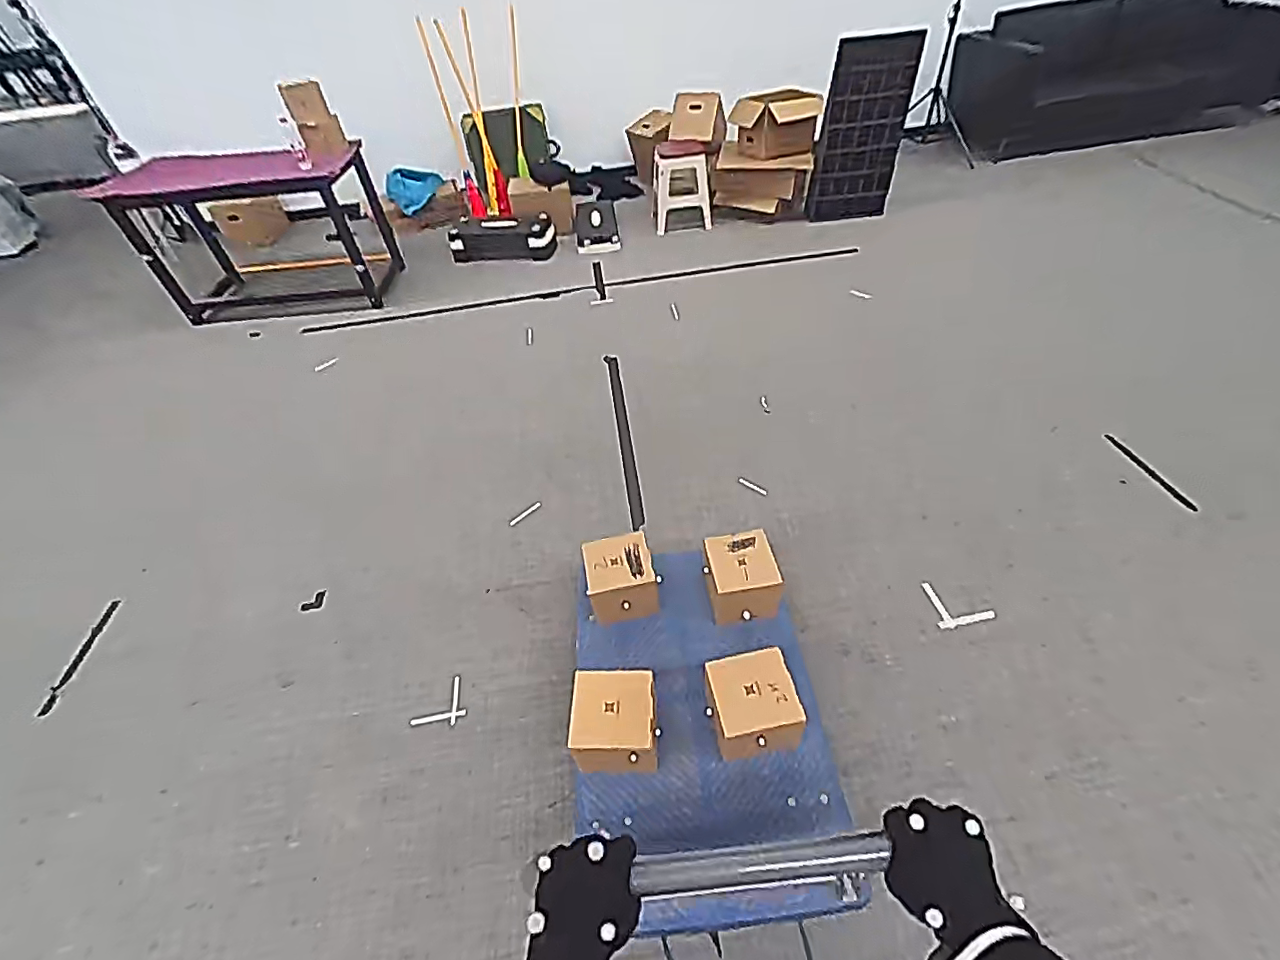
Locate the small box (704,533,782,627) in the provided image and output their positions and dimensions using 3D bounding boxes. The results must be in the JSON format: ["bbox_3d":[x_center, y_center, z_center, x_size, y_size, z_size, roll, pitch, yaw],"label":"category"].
[{"bbox_3d":[0.268,0.269,1.455,0.168,0.176,0.179,-9,47,-2],"label":"small box"}]

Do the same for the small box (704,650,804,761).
[{"bbox_3d":[0.250,0.513,1.222,0.179,0.176,0.168,-11,46,-4],"label":"small box"}]

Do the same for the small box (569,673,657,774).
[{"bbox_3d":[-0.054,0.552,1.222,0.179,0.176,0.168,-2,45,3],"label":"small box"}]
